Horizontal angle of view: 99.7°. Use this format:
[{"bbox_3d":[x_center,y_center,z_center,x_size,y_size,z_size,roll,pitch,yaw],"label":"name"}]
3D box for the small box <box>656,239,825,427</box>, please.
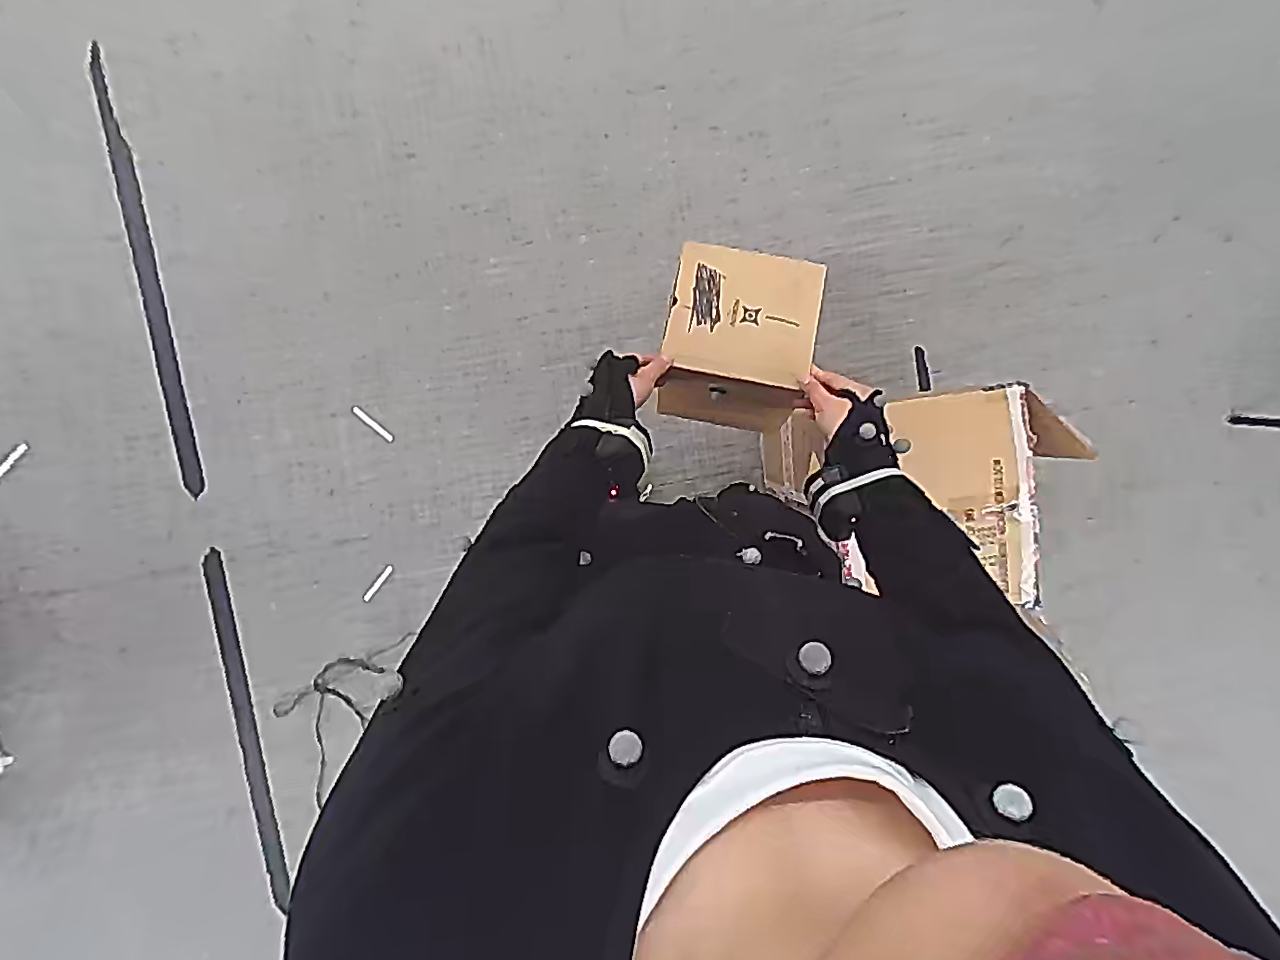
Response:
[{"bbox_3d":[0.121,-0.181,0.708,0.179,0.176,0.168,11,78,3],"label":"small box"}]
